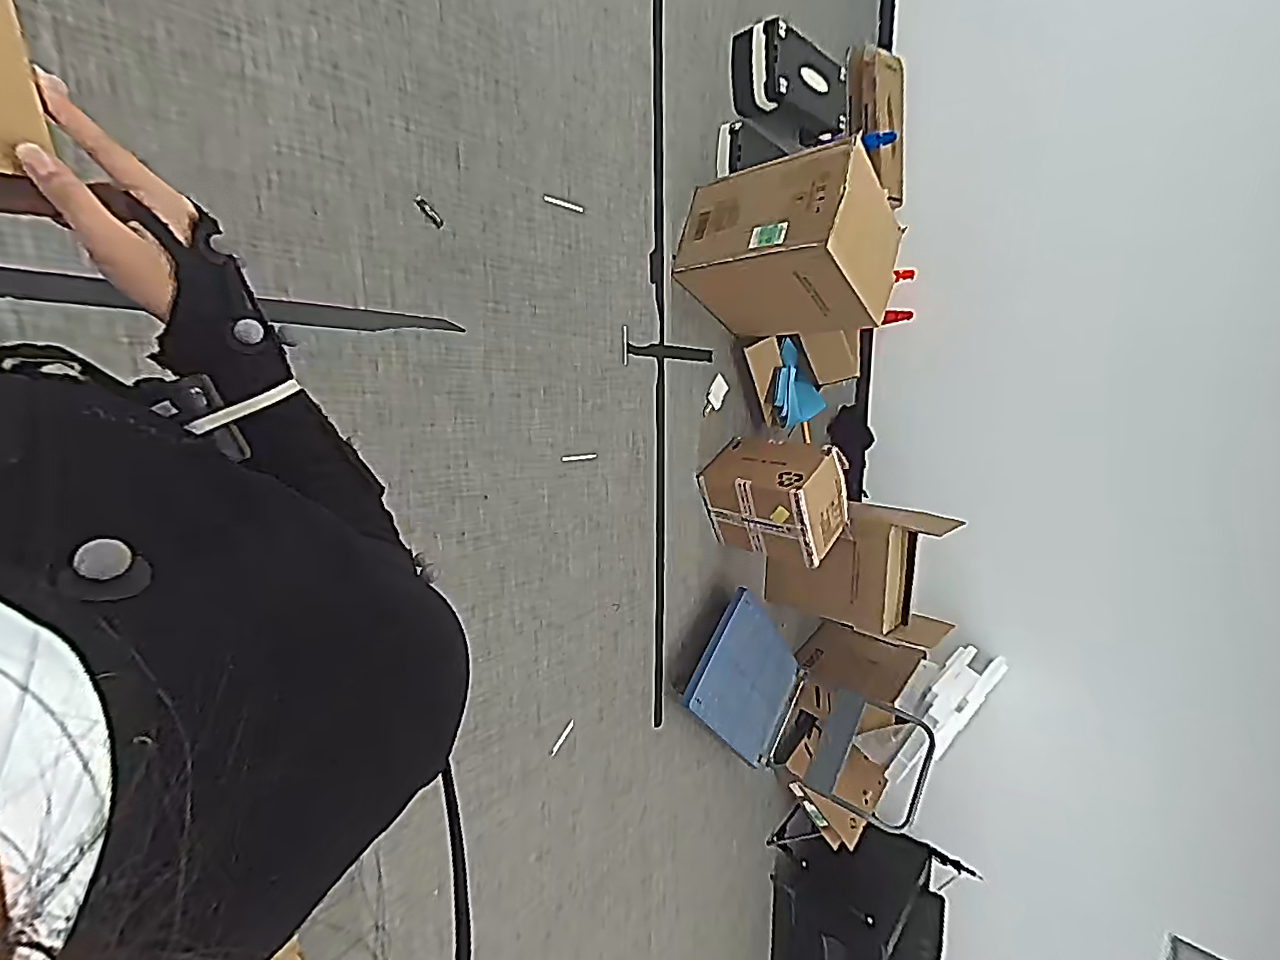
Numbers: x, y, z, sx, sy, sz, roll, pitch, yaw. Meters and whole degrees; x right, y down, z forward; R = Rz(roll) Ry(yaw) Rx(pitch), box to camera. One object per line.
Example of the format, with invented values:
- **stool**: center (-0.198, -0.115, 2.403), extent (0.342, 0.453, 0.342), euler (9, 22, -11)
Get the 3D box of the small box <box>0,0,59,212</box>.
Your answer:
- **small box**: center (-0.443, -0.244, 0.276), extent (0.179, 0.176, 0.168), euler (-17, 114, -44)
